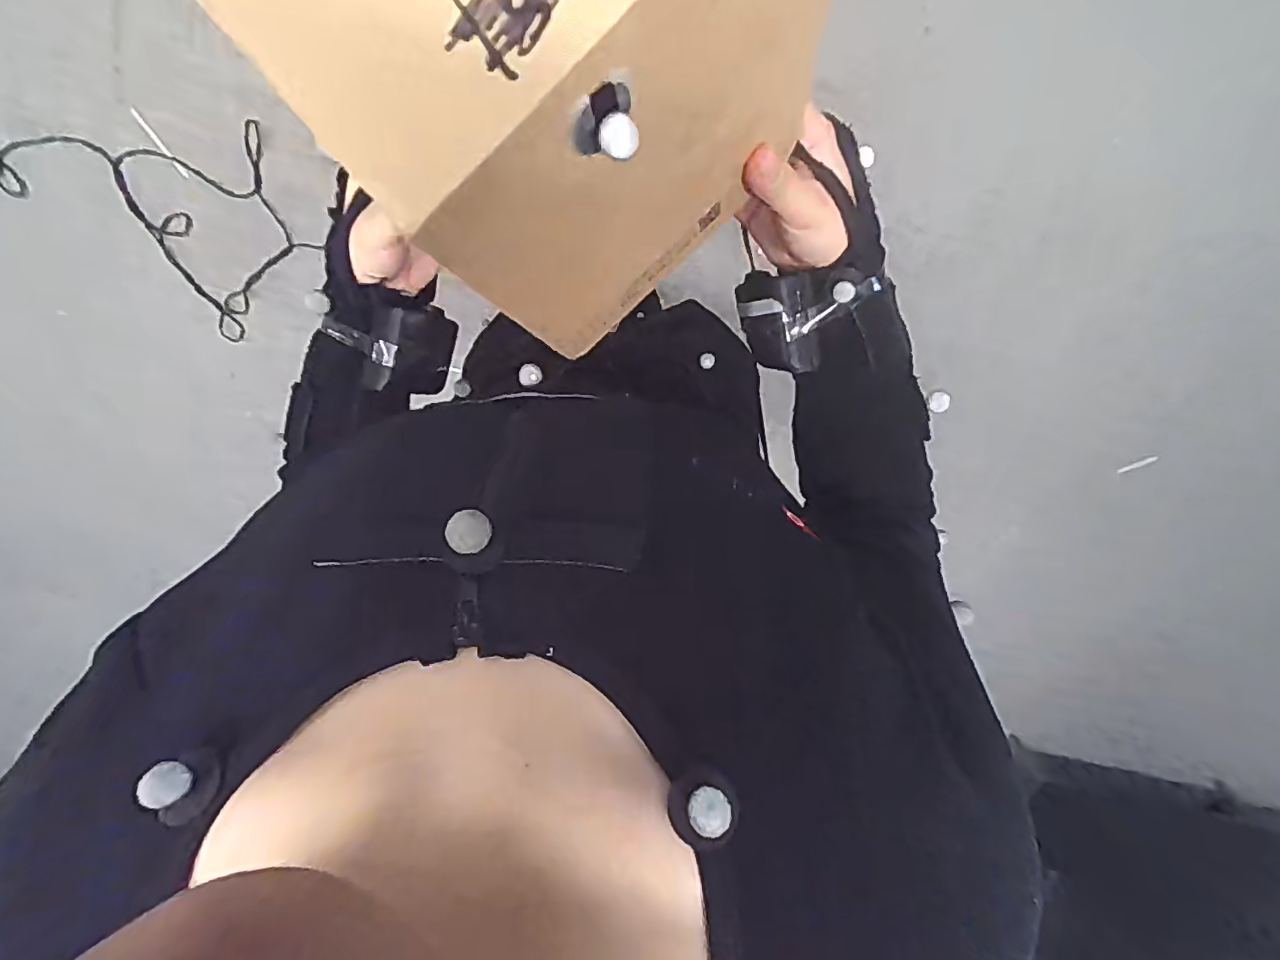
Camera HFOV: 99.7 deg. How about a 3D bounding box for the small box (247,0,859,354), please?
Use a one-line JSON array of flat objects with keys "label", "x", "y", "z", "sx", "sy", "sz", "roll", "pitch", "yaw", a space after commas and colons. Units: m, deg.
[{"label": "small box", "x": -0.033, "y": -0.181, "z": 0.236, "sx": 0.168, "sy": 0.176, "sz": 0.179, "roll": -42, "pitch": 85, "yaw": 7}]
